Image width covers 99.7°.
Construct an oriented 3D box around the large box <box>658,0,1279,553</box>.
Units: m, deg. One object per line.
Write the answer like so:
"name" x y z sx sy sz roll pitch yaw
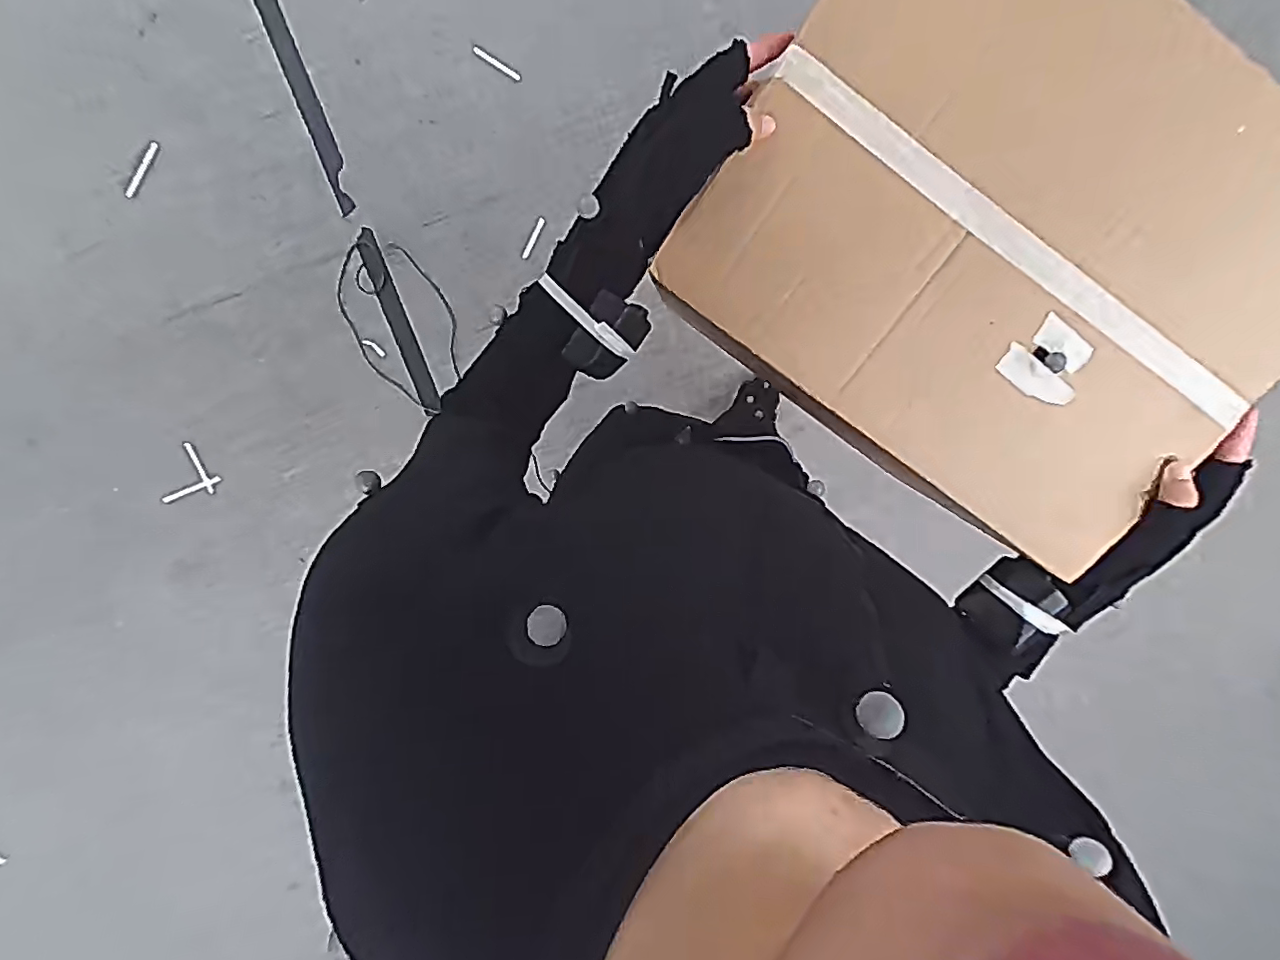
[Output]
"large box" 0.264 -0.204 0.527 0.408 0.320 0.320 35 105 -6
